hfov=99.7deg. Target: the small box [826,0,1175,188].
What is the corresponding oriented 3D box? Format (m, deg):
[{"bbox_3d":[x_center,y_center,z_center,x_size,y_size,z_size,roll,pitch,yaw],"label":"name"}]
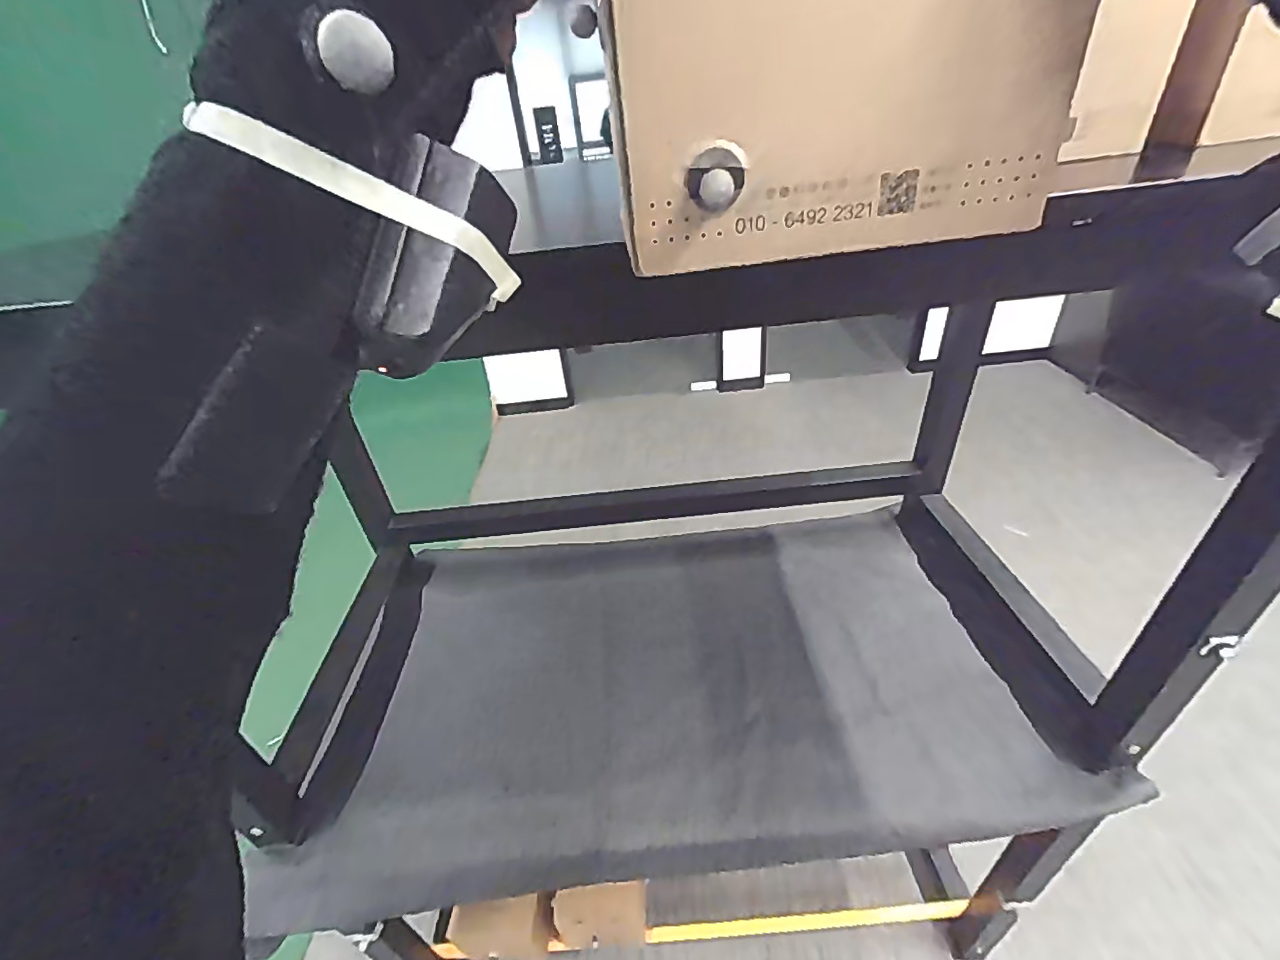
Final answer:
[{"bbox_3d":[0.255,-0.330,0.416,0.168,0.176,0.179,-6,34,1],"label":"small box"}]
